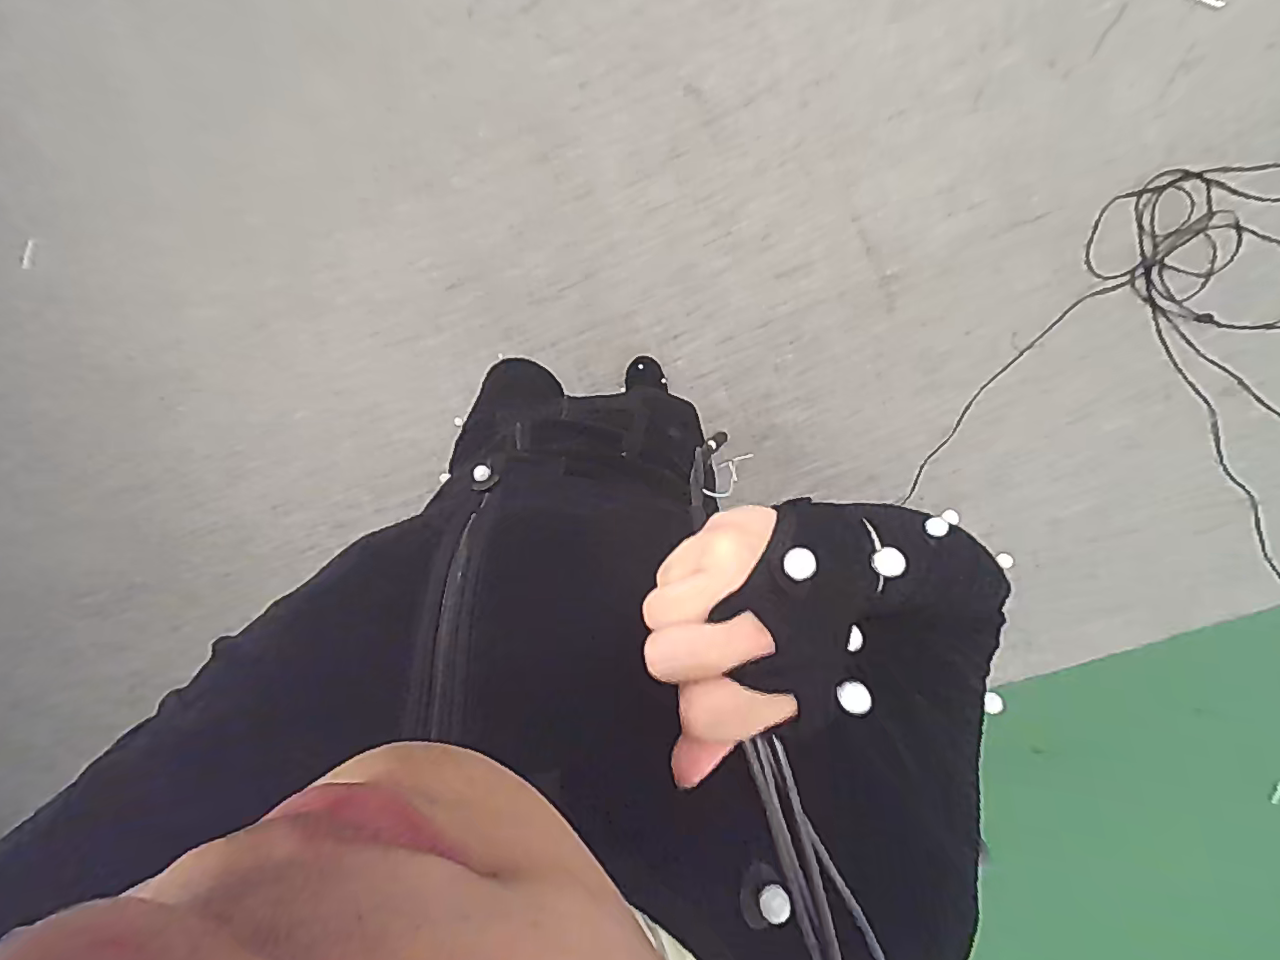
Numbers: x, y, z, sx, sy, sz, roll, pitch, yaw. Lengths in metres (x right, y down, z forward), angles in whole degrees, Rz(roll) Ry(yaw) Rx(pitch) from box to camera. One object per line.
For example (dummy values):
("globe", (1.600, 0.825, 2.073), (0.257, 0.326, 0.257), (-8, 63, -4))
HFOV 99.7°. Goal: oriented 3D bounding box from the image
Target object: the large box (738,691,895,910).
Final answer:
("large box", (0.466, 0.856, 1.477), (0.320, 0.320, 0.408), (-9, 104, 5))
